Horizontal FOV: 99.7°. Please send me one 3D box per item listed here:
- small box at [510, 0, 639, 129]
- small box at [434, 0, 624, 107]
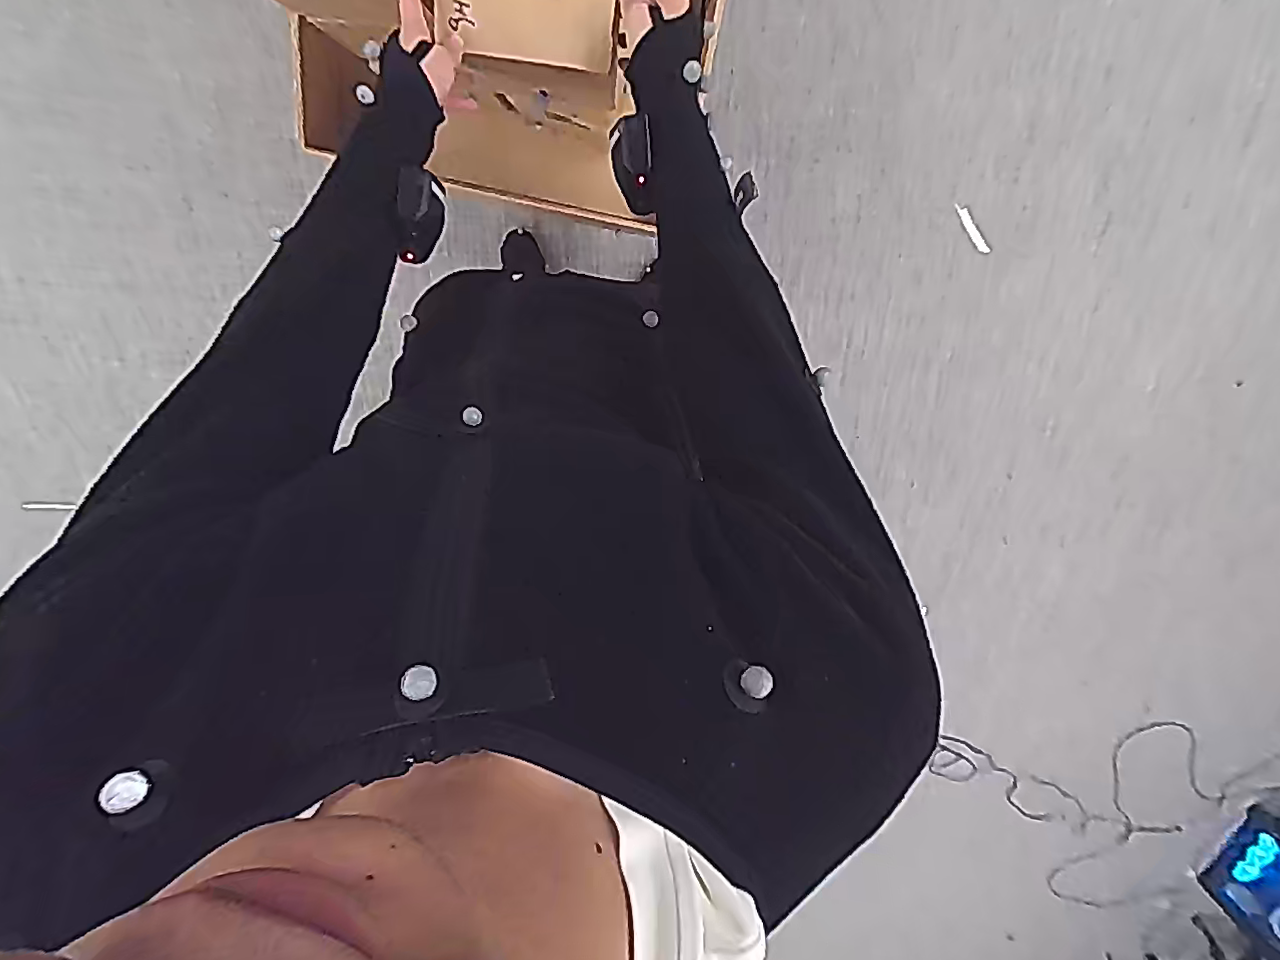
[{"bbox_3d":[-0.097,-0.593,0.713,0.168,0.176,0.179,13,113,-7],"label":"small box"},{"bbox_3d":[-0.105,-0.514,0.570,0.179,0.176,0.168,6,114,-4],"label":"small box"}]
